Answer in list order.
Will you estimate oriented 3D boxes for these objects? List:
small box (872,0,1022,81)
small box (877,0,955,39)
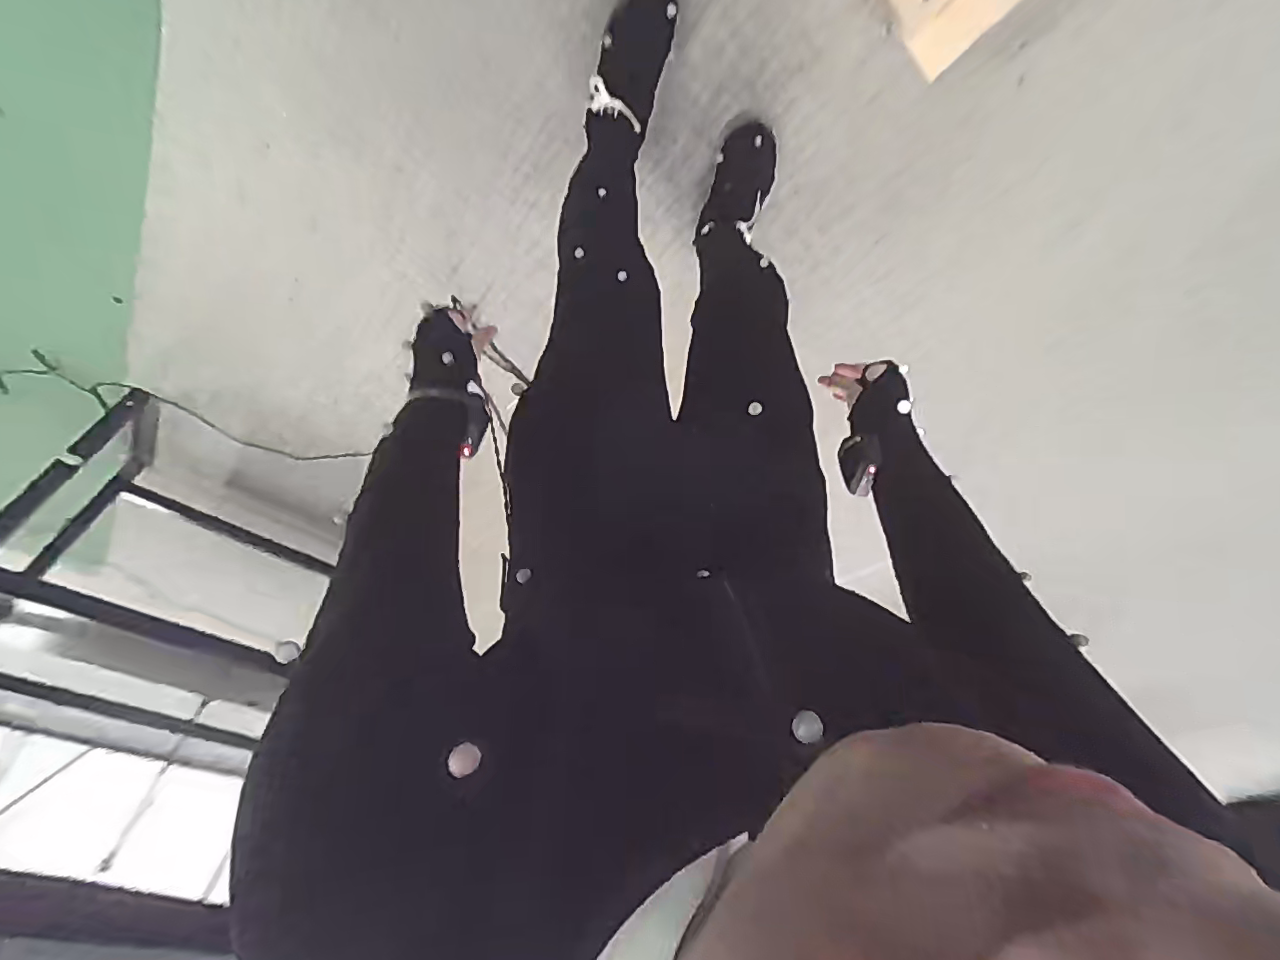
[{"bbox_3d":[0.460,-0.762,0.815,0.168,0.176,0.179,33,133,-27],"label":"small box"},{"bbox_3d":[0.346,-0.699,0.653,0.179,0.176,0.168,35,133,-27],"label":"small box"}]
